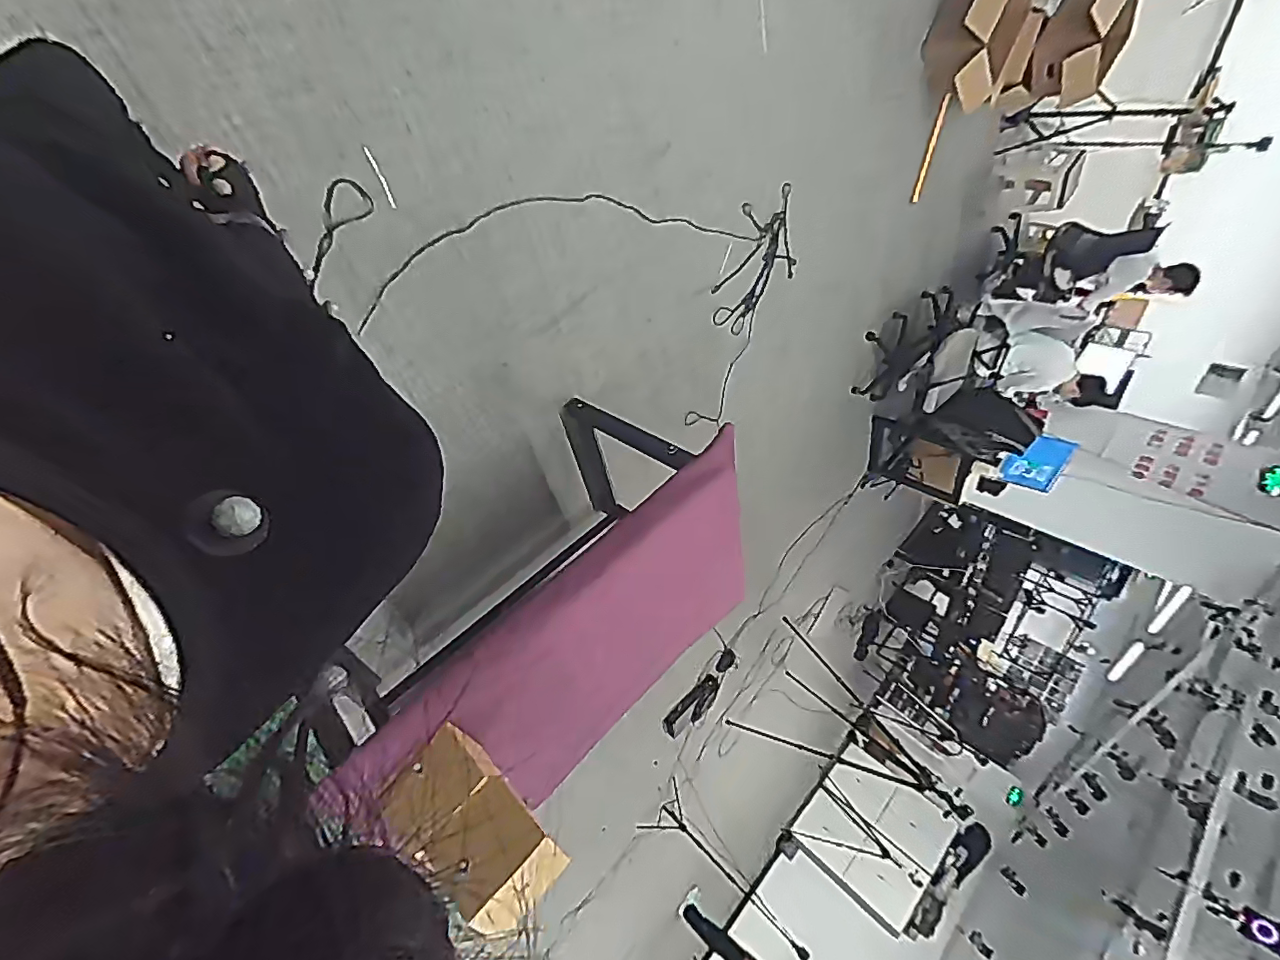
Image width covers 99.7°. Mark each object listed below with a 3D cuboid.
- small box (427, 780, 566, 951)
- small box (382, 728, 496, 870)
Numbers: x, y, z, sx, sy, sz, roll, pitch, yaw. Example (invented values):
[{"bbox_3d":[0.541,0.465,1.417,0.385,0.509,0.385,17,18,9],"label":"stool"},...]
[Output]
[{"bbox_3d":[-0.272,0.715,1.013,0.179,0.176,0.168,-39,137,-28],"label":"small box"},{"bbox_3d":[-0.395,0.654,1.103,0.179,0.176,0.168,-43,139,-23],"label":"small box"}]
